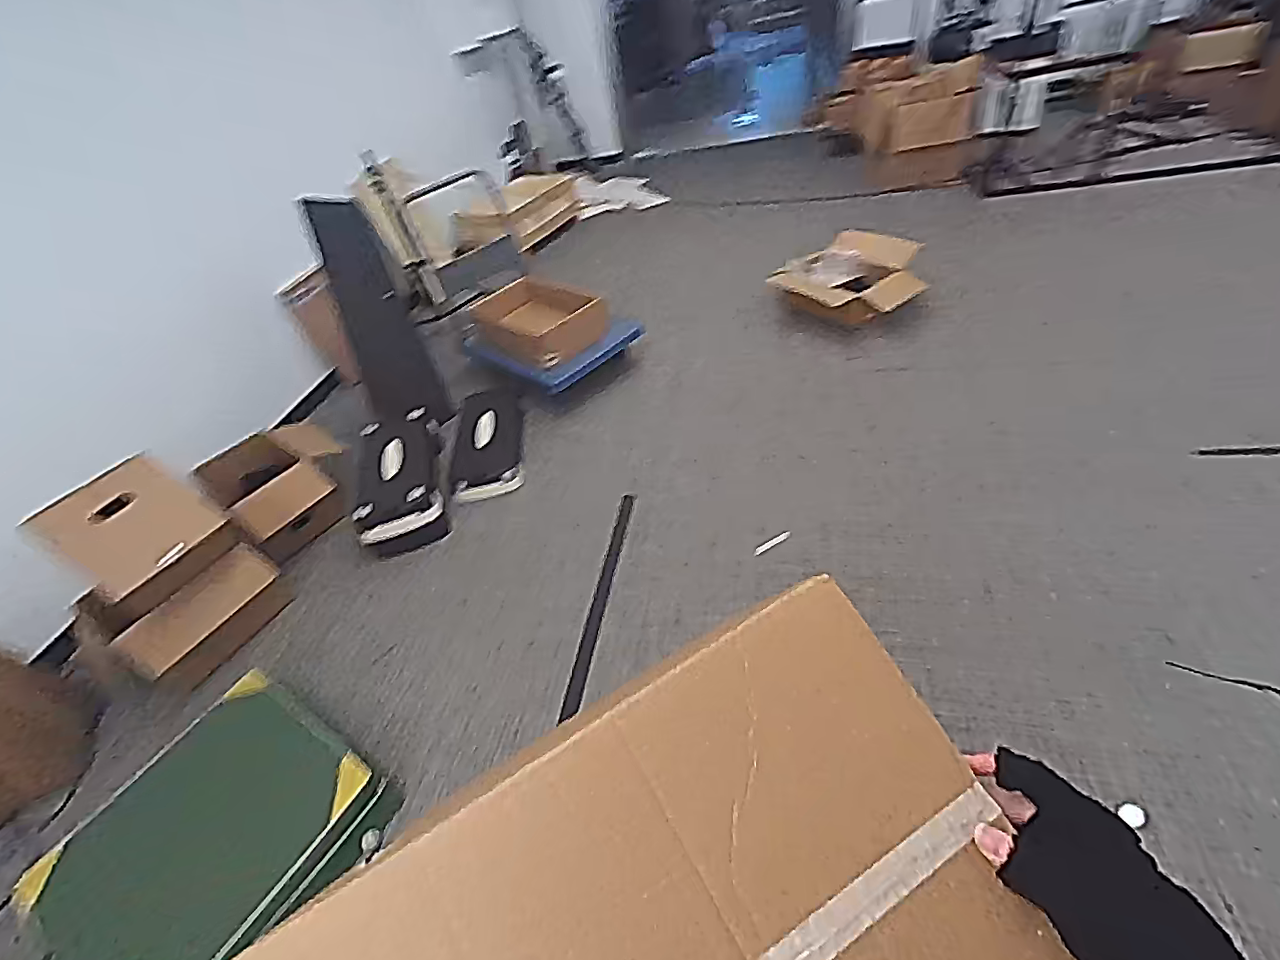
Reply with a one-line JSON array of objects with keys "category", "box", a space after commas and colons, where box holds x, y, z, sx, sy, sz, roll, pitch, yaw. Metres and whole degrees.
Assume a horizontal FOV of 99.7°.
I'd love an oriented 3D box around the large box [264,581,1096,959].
[{"category": "large box", "box": [0.032, 0.337, 0.430, 0.408, 0.320, 0.320, -29, 75, -11]}]
